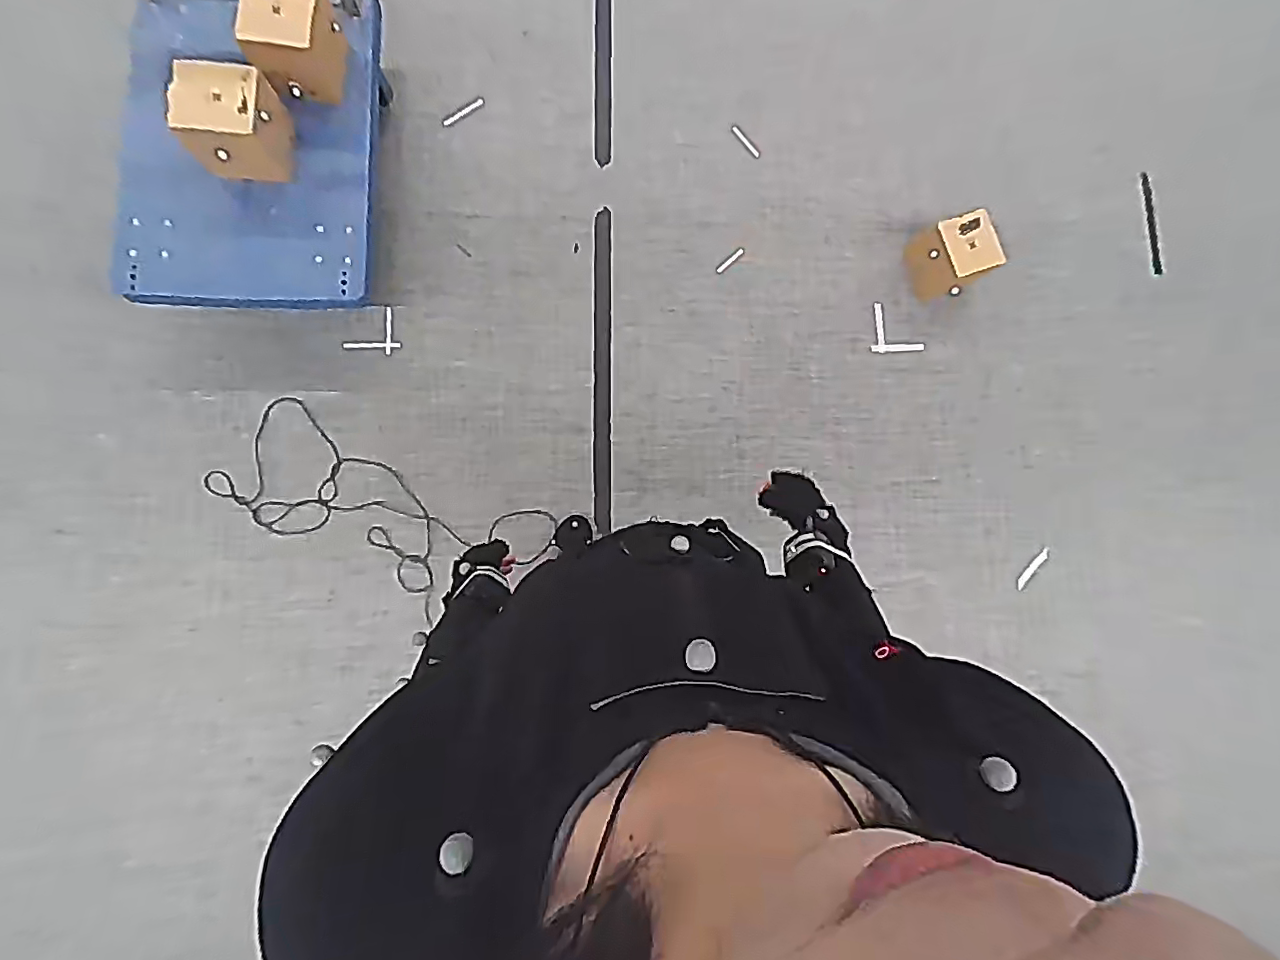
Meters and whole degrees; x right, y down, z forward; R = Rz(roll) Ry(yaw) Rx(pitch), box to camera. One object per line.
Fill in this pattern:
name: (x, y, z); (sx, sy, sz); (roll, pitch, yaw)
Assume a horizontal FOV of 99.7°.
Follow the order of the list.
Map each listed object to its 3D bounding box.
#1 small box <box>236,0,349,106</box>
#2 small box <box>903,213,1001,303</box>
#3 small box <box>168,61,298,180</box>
small box: (-0.828, -1.058, 1.307); (0.168, 0.176, 0.179); (4, 85, -4)
small box: (0.938, -0.670, 1.645); (0.168, 0.176, 0.179); (-19, 87, -7)
small box: (-0.947, -0.834, 1.271); (0.179, 0.176, 0.168); (1, 85, -5)
